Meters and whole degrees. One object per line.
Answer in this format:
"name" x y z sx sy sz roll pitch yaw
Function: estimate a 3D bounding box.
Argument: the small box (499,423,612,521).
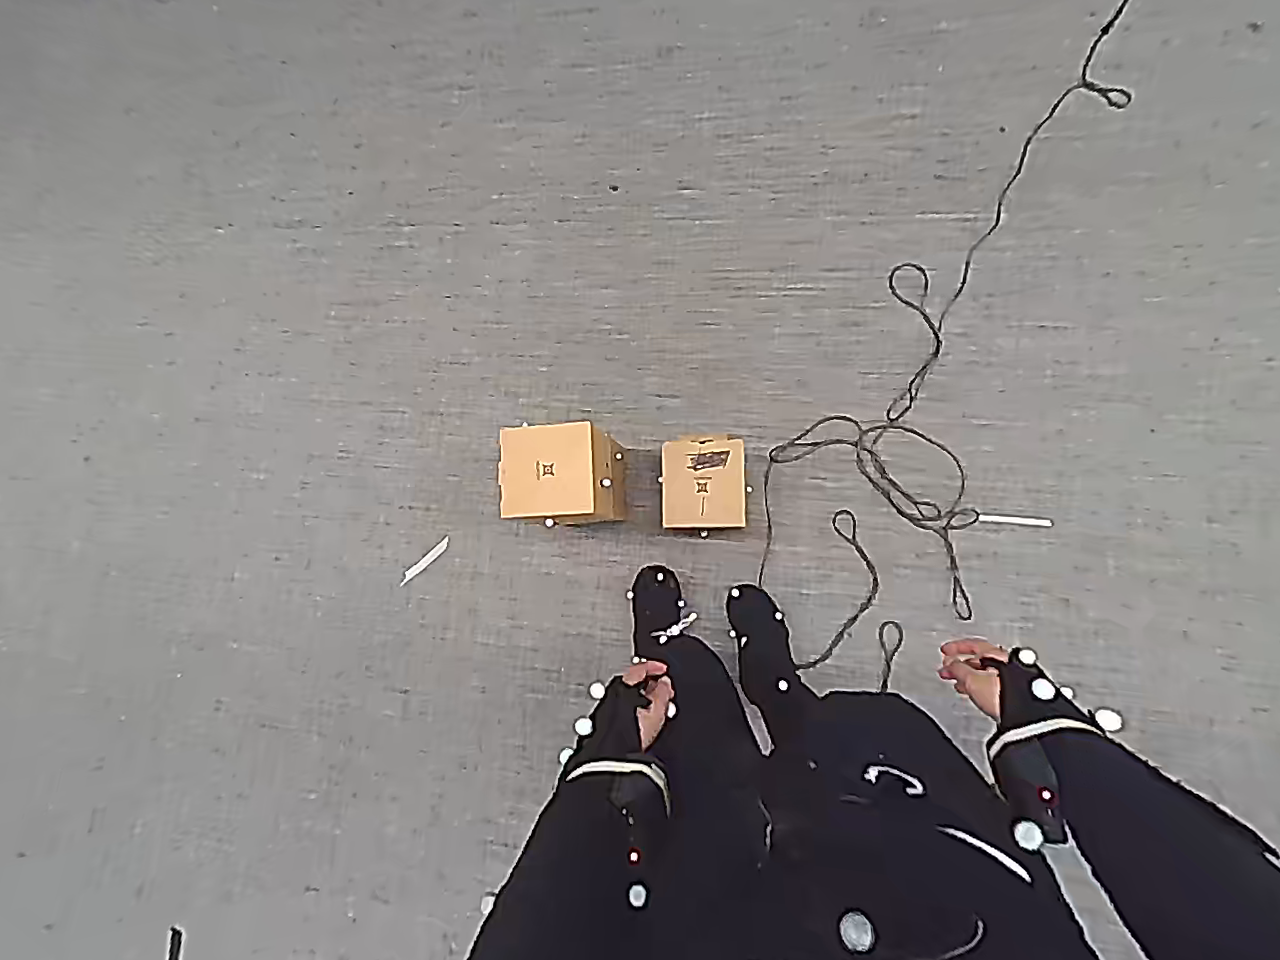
"small box" -0.153 -0.009 1.033 0.179 0.176 0.168 -4 83 10

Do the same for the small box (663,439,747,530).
"small box" 0.140 0.015 1.145 0.168 0.176 0.179 -1 84 10
